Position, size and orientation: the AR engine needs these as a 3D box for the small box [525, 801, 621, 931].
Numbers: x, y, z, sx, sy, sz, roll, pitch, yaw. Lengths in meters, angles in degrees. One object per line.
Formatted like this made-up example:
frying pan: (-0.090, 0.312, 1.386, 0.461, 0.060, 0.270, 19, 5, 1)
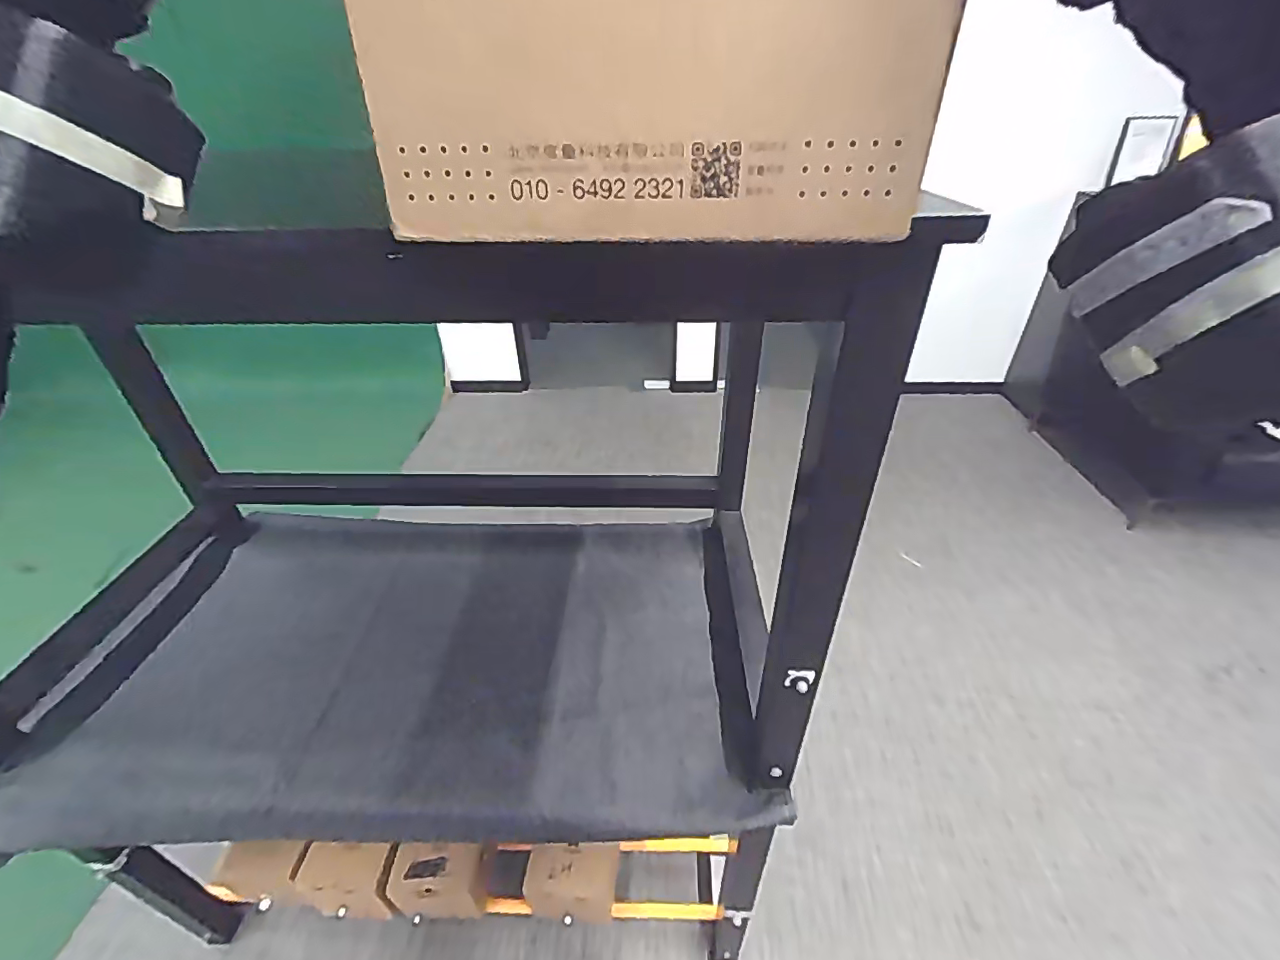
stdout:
small box: (-0.134, 0.830, 1.165, 0.168, 0.176, 0.179, 2, 37, 7)
